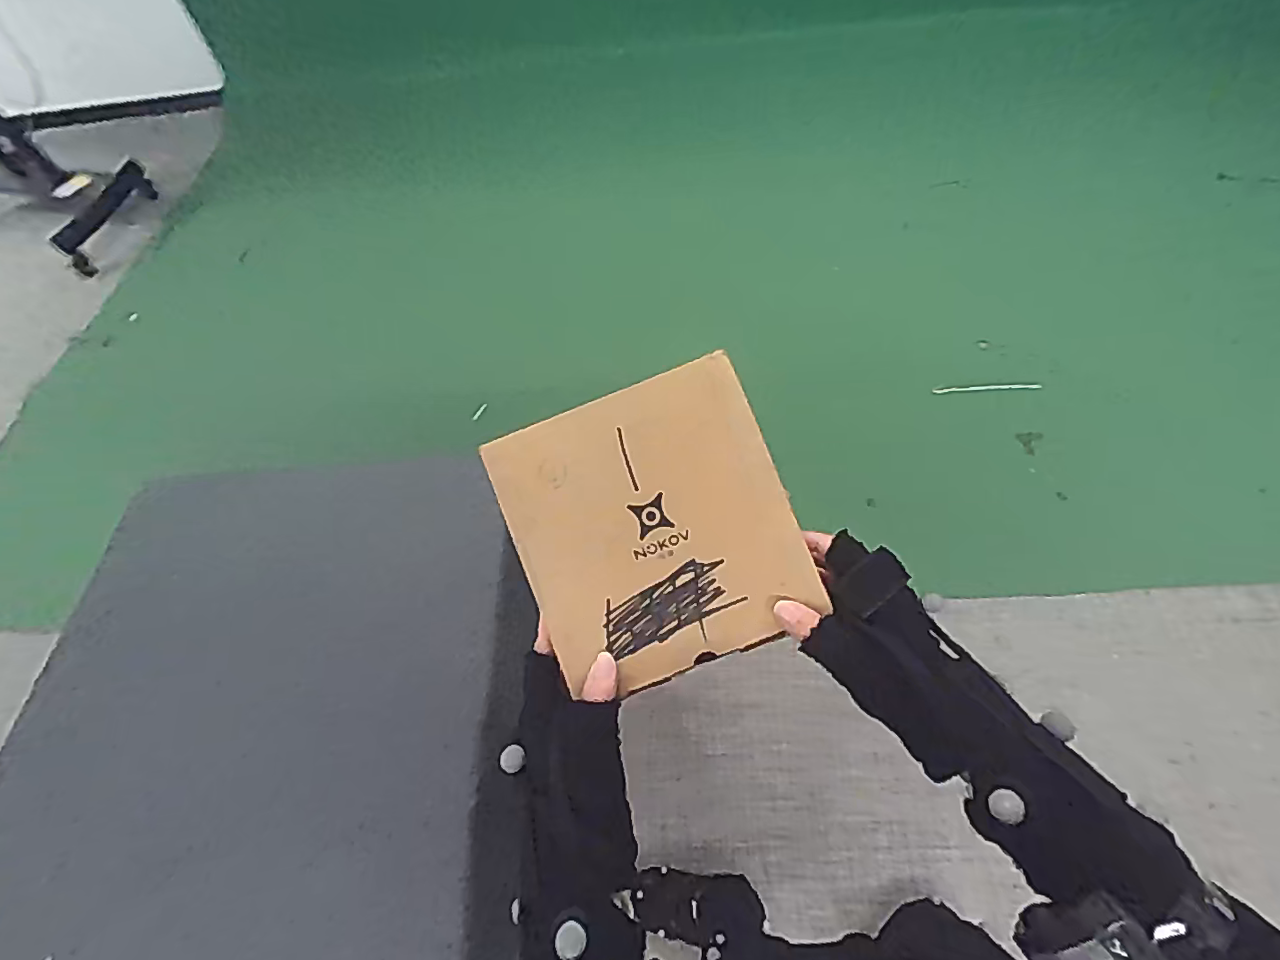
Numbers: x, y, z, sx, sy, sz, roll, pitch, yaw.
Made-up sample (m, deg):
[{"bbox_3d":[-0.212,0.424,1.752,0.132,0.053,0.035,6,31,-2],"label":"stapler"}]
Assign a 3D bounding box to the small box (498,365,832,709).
[{"bbox_3d":[0.017,0.038,0.413,0.168,0.176,0.179,-20,86,0],"label":"small box"}]
